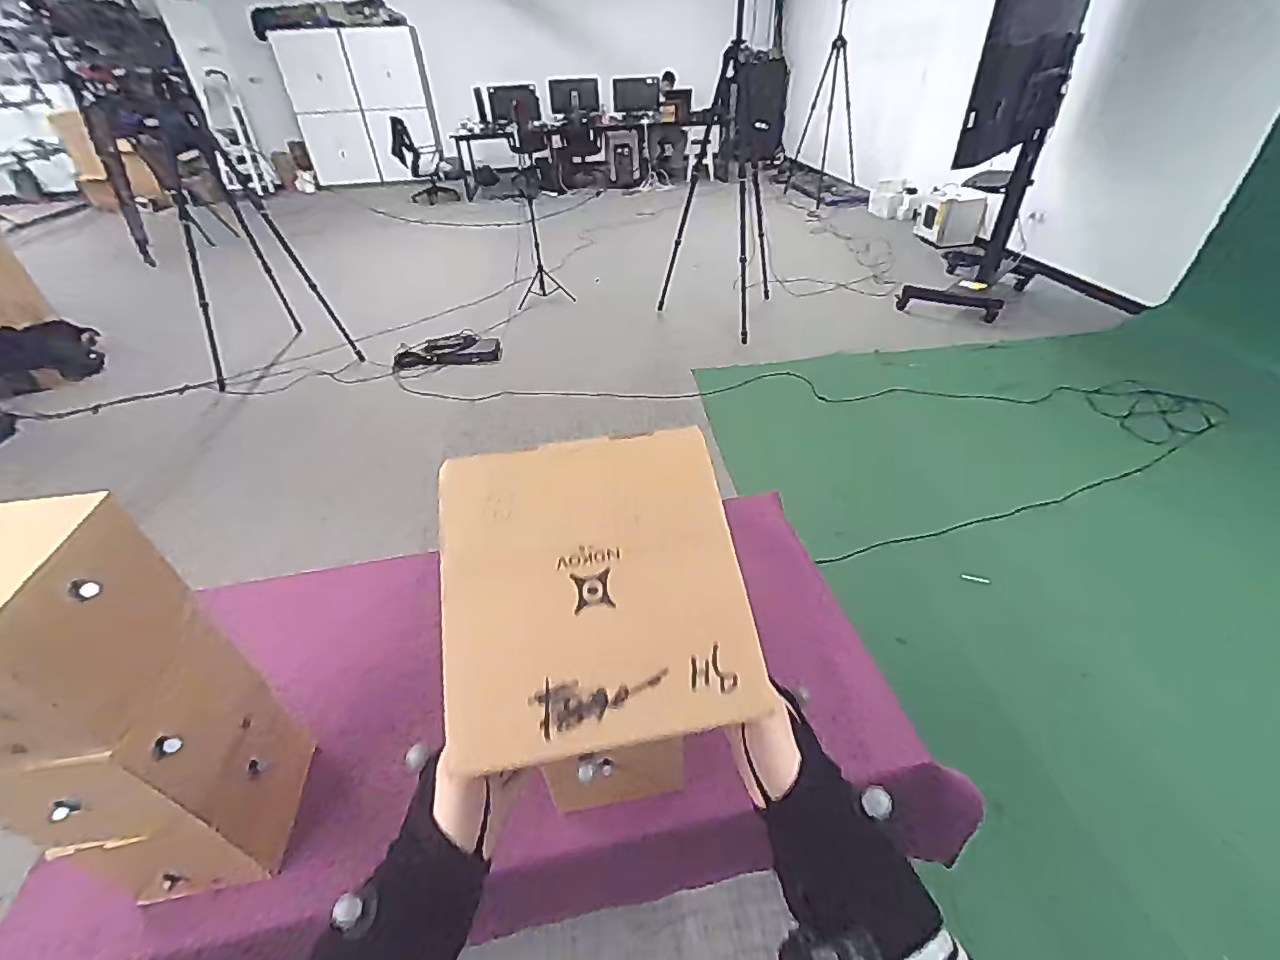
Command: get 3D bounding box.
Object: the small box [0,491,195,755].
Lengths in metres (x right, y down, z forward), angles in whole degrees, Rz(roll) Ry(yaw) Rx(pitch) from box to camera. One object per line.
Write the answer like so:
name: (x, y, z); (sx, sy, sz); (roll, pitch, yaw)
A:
small box: (-0.571, 0.136, 0.500); (0.168, 0.176, 0.179); (-7, 38, -6)

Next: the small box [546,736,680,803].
small box: (-0.045, 0.321, 0.752); (0.179, 0.176, 0.168); (-8, 39, -6)

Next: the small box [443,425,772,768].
small box: (-0.028, 0.087, 0.373); (0.168, 0.176, 0.179); (-9, 65, -5)

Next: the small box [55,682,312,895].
small box: (-0.559, 0.395, 0.700); (0.168, 0.176, 0.179); (-8, 39, -6)
